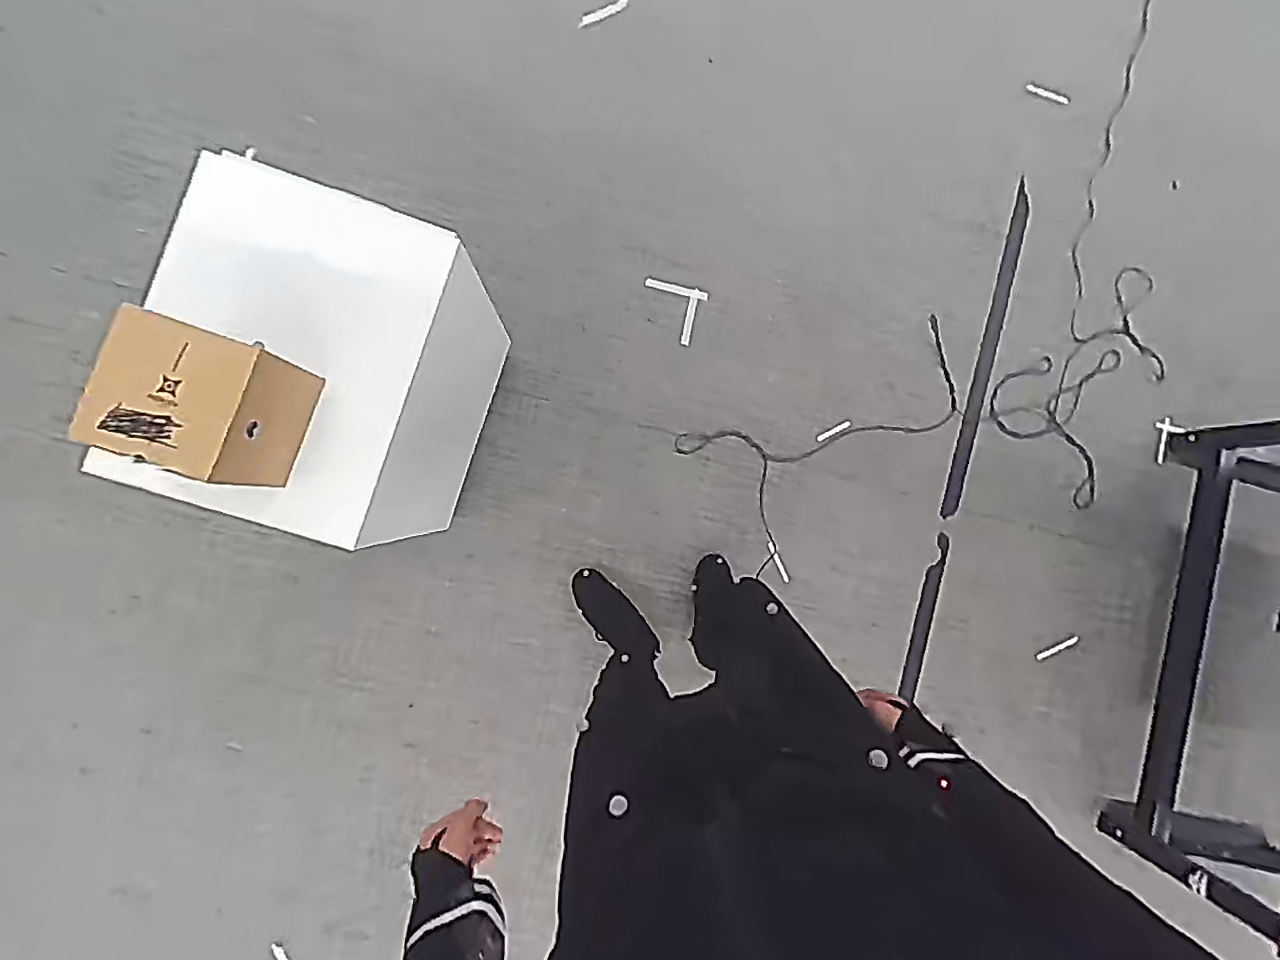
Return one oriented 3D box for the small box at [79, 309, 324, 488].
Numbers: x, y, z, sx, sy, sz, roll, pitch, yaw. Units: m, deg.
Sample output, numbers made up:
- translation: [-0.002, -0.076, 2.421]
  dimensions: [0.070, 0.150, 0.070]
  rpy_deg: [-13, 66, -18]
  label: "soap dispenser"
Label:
- translation: [-0.565, -0.094, 0.727]
  dimensions: [0.168, 0.176, 0.179]
  rpy_deg: [19, 85, -5]
  label: "small box"
